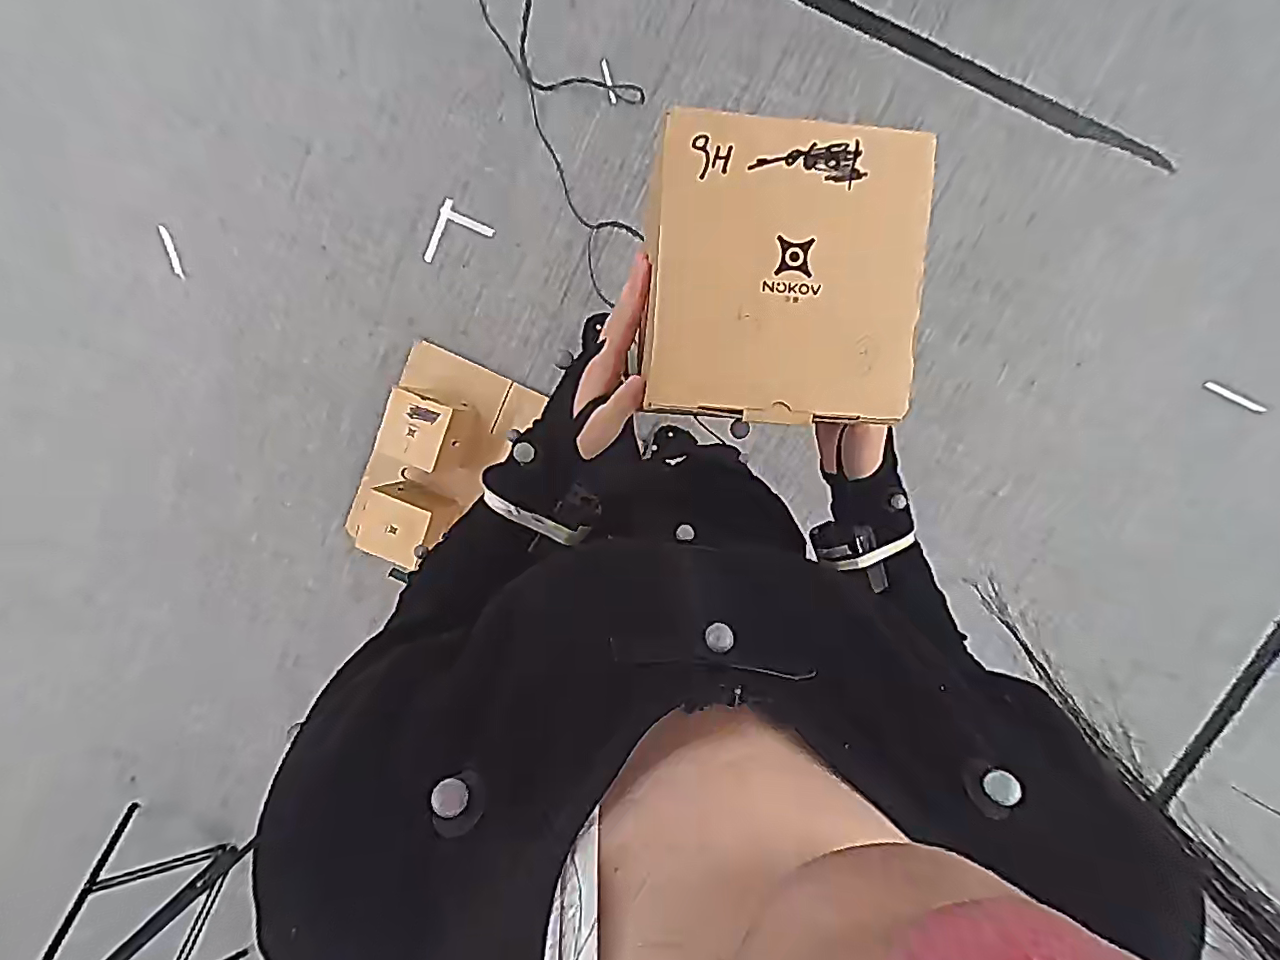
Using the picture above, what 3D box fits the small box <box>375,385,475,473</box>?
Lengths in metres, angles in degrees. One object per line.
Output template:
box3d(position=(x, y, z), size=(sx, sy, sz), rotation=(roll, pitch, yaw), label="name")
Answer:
box3d(position=(-0.555, -0.135, 1.425), size=(0.168, 0.176, 0.179), rotation=(22, 98, 2), label="small box")

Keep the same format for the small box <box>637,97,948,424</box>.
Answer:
box3d(position=(0.088, -0.135, 0.399), size=(0.168, 0.176, 0.179), rotation=(3, 96, -5), label="small box")

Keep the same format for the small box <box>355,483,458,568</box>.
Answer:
box3d(position=(-0.623, 0.114, 1.460), size=(0.179, 0.176, 0.168), rotation=(20, 99, 2), label="small box")
